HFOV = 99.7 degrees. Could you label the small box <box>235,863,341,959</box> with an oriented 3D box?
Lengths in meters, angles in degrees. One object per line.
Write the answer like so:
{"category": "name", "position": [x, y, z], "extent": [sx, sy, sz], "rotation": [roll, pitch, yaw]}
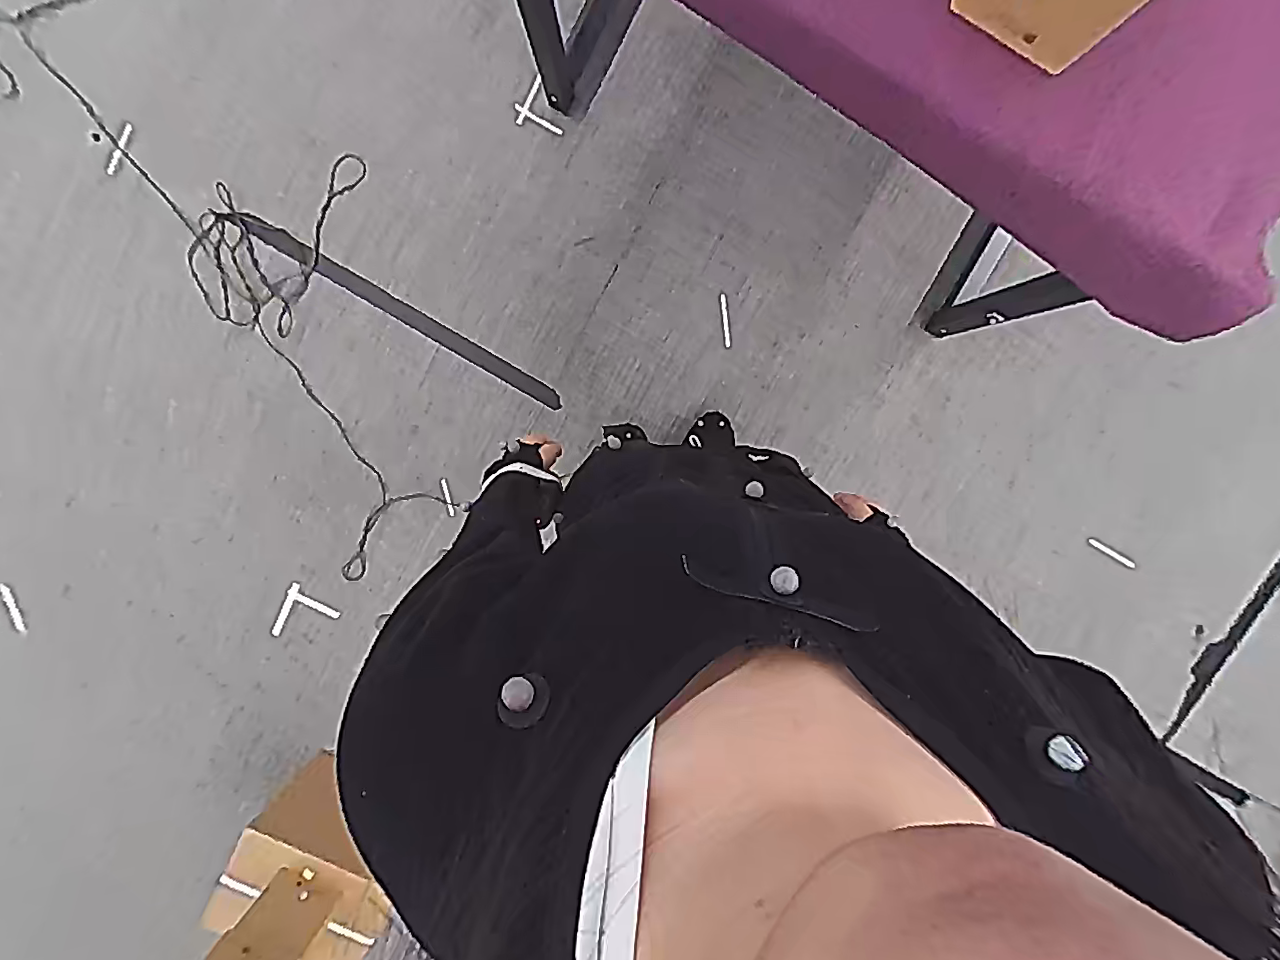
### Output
{"category": "small box", "position": [-0.839, 1.059, 1.263], "extent": [0.168, 0.176, 0.179], "rotation": [26, 96, -3]}

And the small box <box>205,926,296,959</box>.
{"category": "small box", "position": [-0.841, 1.073, 1.101], "extent": [0.168, 0.176, 0.179], "rotation": [25, 98, -2]}

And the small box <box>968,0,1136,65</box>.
{"category": "small box", "position": [0.505, -0.624, 0.601], "extent": [0.168, 0.176, 0.179], "rotation": [30, 96, -3]}
